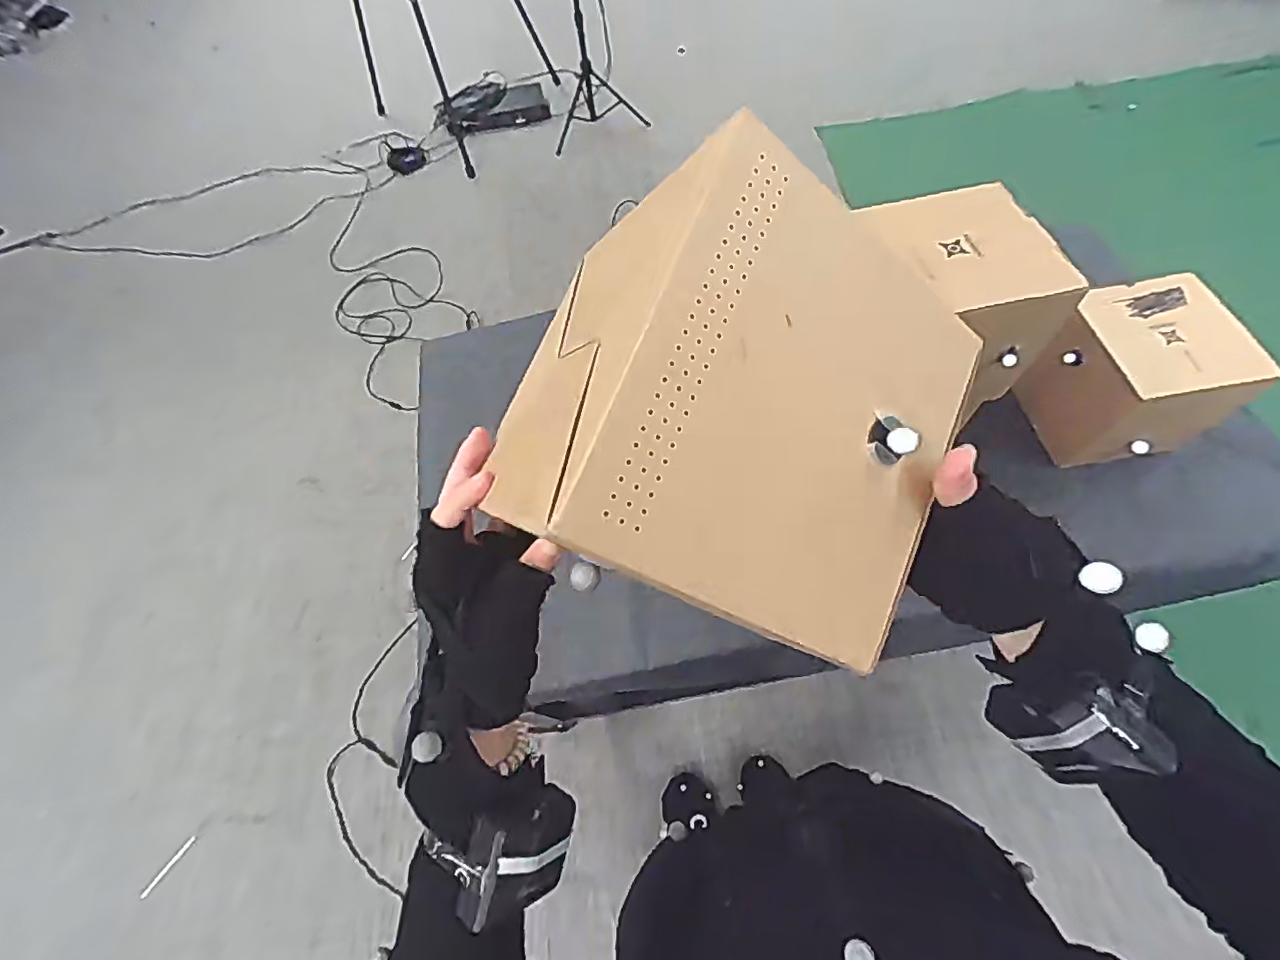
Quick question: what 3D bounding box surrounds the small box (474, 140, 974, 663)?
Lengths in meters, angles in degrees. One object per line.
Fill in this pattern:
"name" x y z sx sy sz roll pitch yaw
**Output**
"small box" 0.035 -0.030 0.294 0.176 0.168 0.179 29 79 -25
